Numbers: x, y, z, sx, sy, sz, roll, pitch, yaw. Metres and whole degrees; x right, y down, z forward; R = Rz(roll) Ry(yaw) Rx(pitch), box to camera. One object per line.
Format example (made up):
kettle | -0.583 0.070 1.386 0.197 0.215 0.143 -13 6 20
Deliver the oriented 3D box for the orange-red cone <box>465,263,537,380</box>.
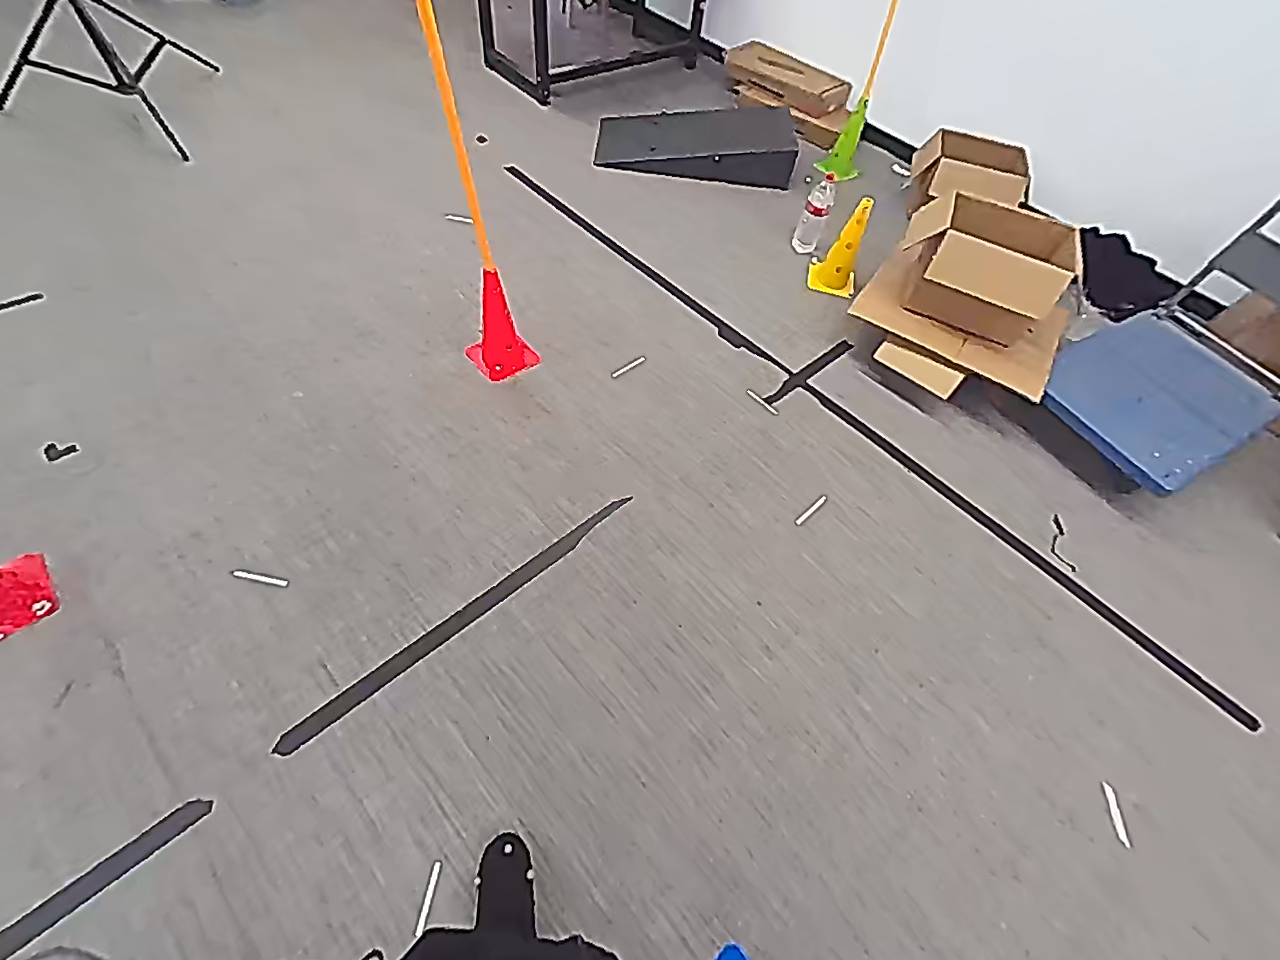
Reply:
orange-red cone | -0.465 -0.535 1.743 0.199 0.360 0.198 -32 66 -25

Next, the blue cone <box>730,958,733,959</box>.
blue cone | 0.191 0.954 0.870 0.192 0.380 0.193 -32 66 -24
